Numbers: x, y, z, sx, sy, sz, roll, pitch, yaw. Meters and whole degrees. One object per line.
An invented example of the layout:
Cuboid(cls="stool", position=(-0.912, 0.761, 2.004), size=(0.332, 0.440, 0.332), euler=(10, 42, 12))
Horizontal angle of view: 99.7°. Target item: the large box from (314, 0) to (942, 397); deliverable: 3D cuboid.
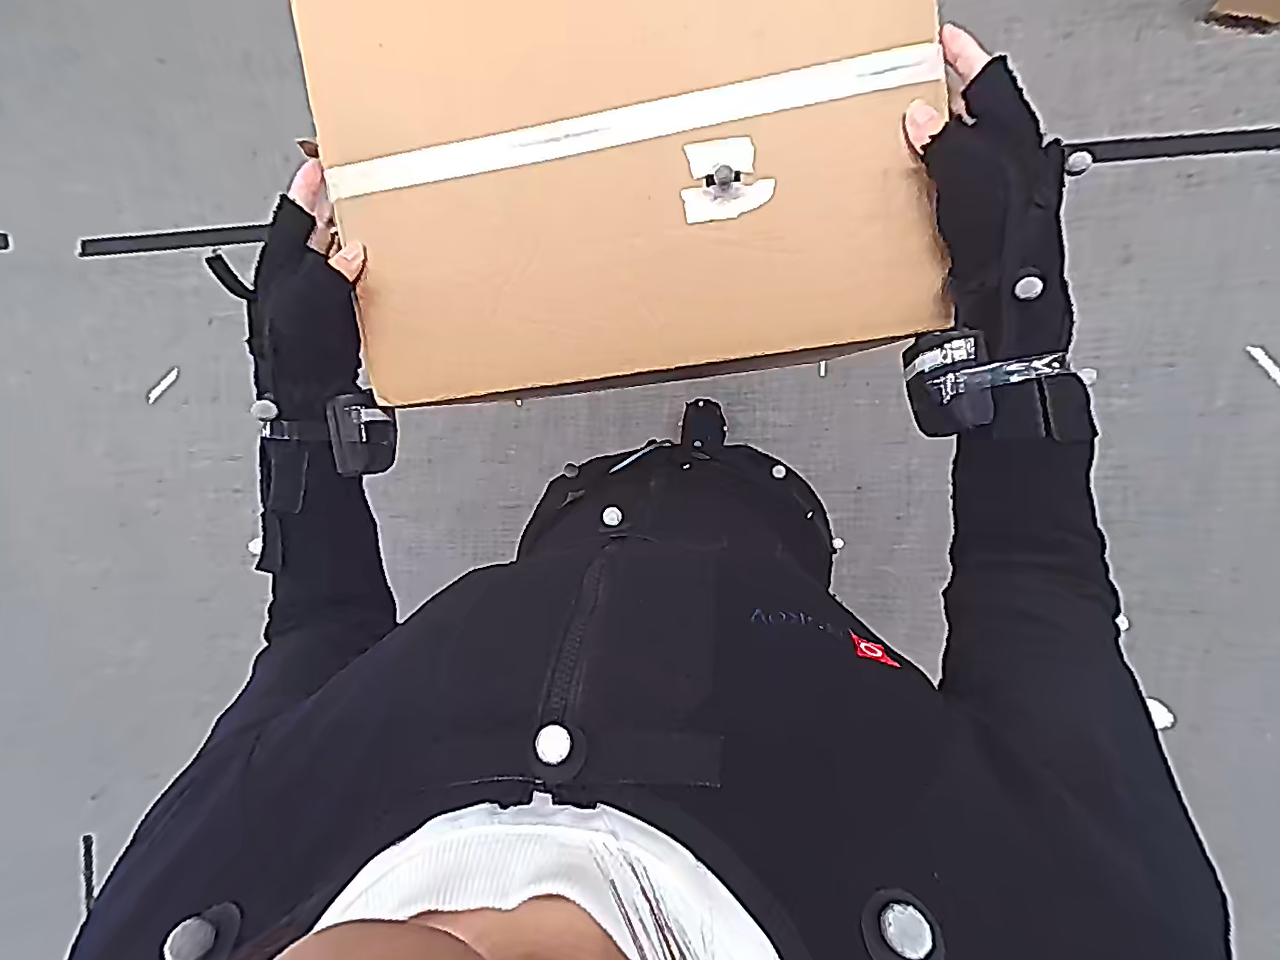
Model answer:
Cuboid(cls="large box", position=(0.000, -0.262, 0.513), size=(0.408, 0.320, 0.320), euler=(-7, 99, 6))
